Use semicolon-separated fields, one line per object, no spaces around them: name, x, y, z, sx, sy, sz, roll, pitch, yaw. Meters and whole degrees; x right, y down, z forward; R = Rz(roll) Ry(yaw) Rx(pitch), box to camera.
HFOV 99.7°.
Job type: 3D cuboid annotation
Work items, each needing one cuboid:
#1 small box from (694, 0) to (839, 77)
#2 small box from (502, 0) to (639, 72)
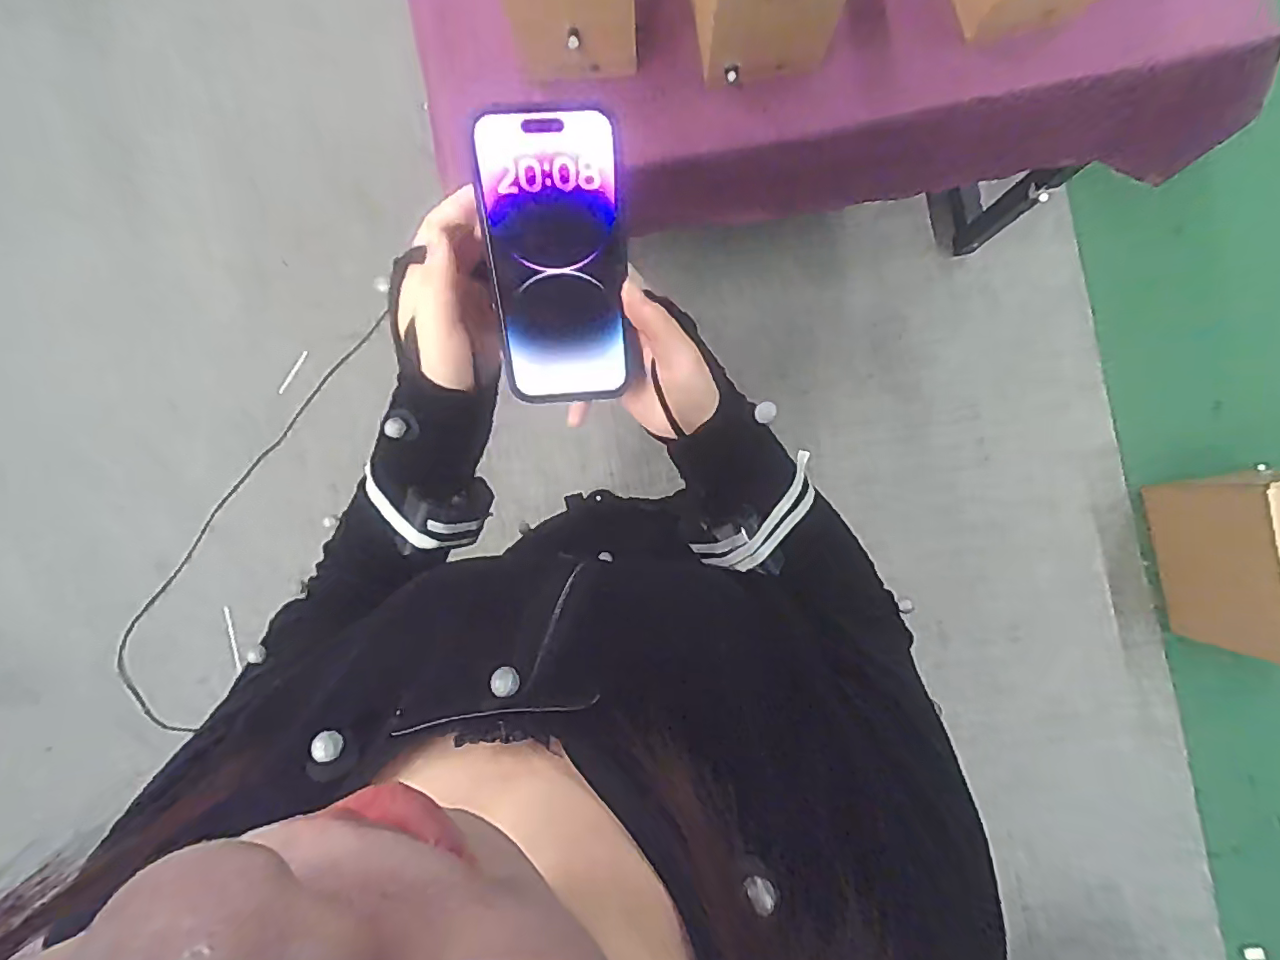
small box;0.161;-0.663;0.696;0.168;0.176;0.179;-10;88;2
small box;-0.088;-0.672;0.706;0.168;0.176;0.179;-2;90;2
